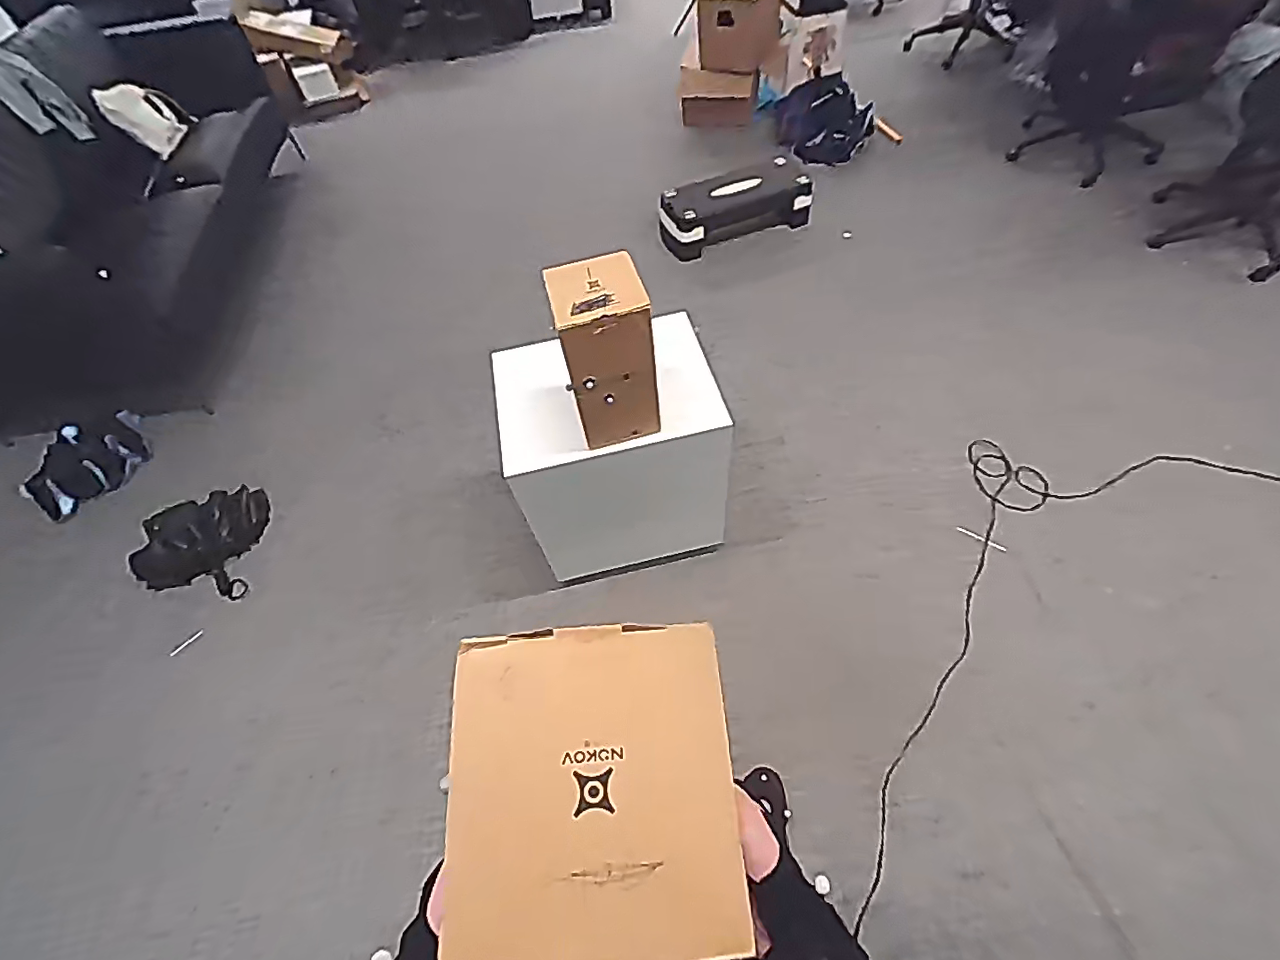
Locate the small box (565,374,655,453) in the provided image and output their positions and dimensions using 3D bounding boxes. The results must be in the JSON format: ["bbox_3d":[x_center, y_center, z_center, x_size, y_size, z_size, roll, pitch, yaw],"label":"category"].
[{"bbox_3d":[-0.071,-0.188,1.159,0.168,0.176,0.179,-17,54,-5],"label":"small box"}]

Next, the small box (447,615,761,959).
[{"bbox_3d":[-0.029,0.206,0.385,0.168,0.176,0.179,-4,65,-6],"label":"small box"}]

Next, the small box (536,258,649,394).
[{"bbox_3d":[-0.086,-0.283,1.026,0.168,0.176,0.179,-16,54,-5],"label":"small box"}]
